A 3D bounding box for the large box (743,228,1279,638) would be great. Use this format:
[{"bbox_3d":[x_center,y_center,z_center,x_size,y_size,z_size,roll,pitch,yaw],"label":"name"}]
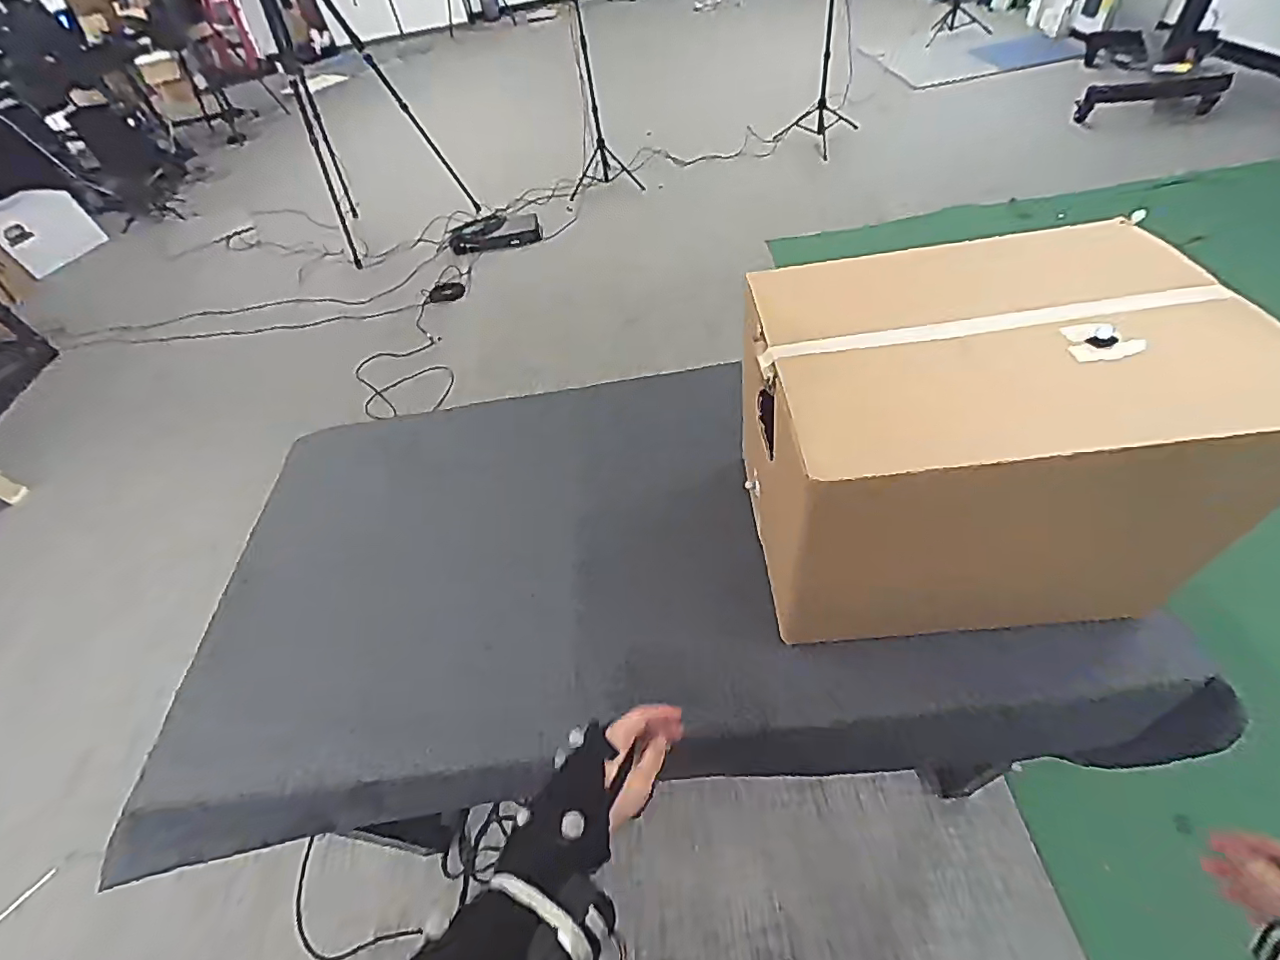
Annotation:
[{"bbox_3d":[0.343,-0.041,0.612,0.408,0.320,0.320,-6,50,4],"label":"large box"}]
